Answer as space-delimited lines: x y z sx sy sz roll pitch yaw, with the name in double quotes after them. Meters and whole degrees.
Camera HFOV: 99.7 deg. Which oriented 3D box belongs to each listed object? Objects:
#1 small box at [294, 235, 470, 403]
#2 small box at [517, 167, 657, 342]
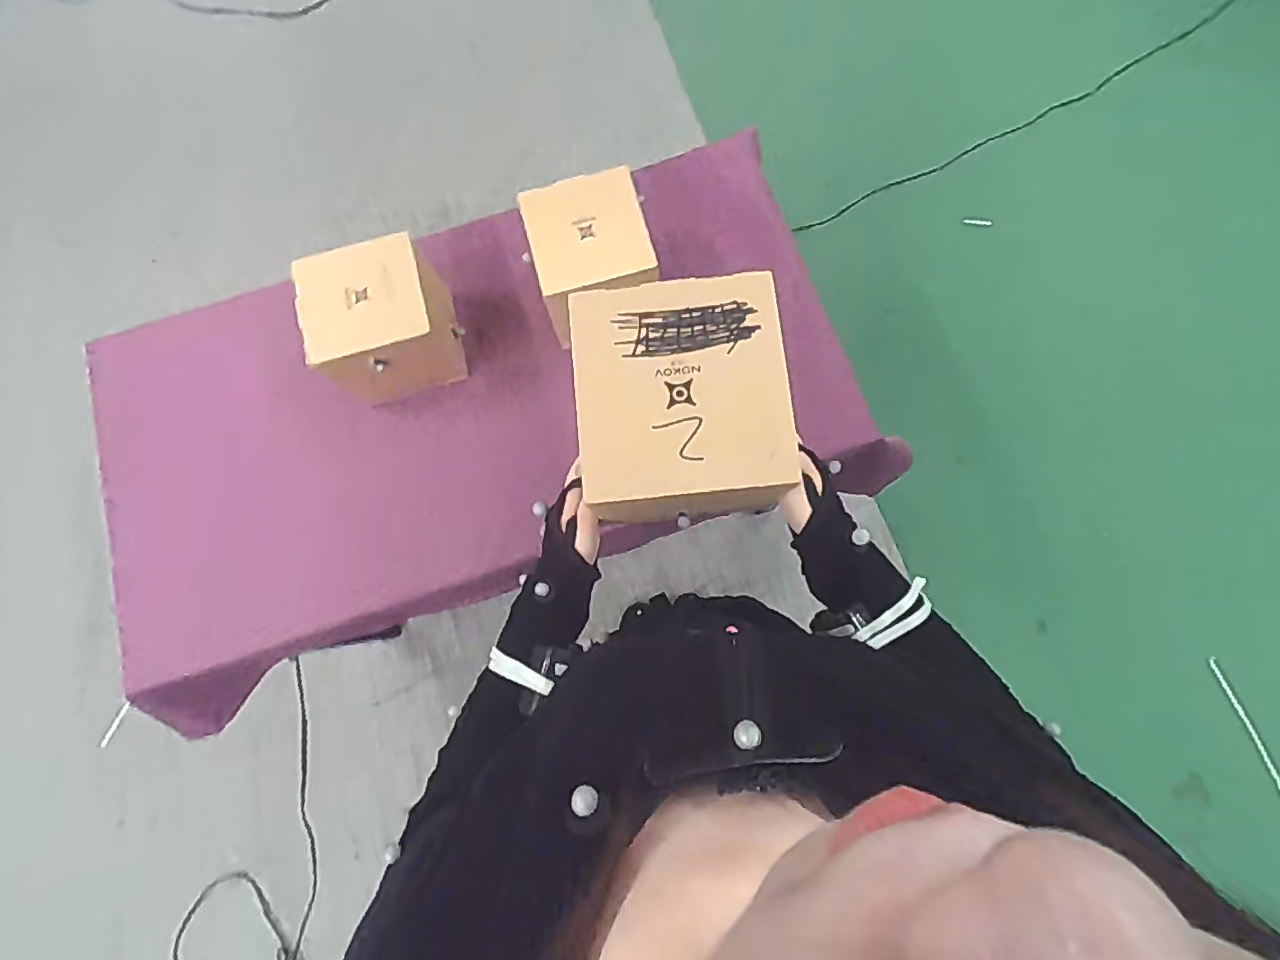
-0.386 -0.236 0.832 0.179 0.176 0.168 -15 78 -2 "small box"
-0.073 -0.334 0.839 0.168 0.176 0.179 -16 77 -1 "small box"
